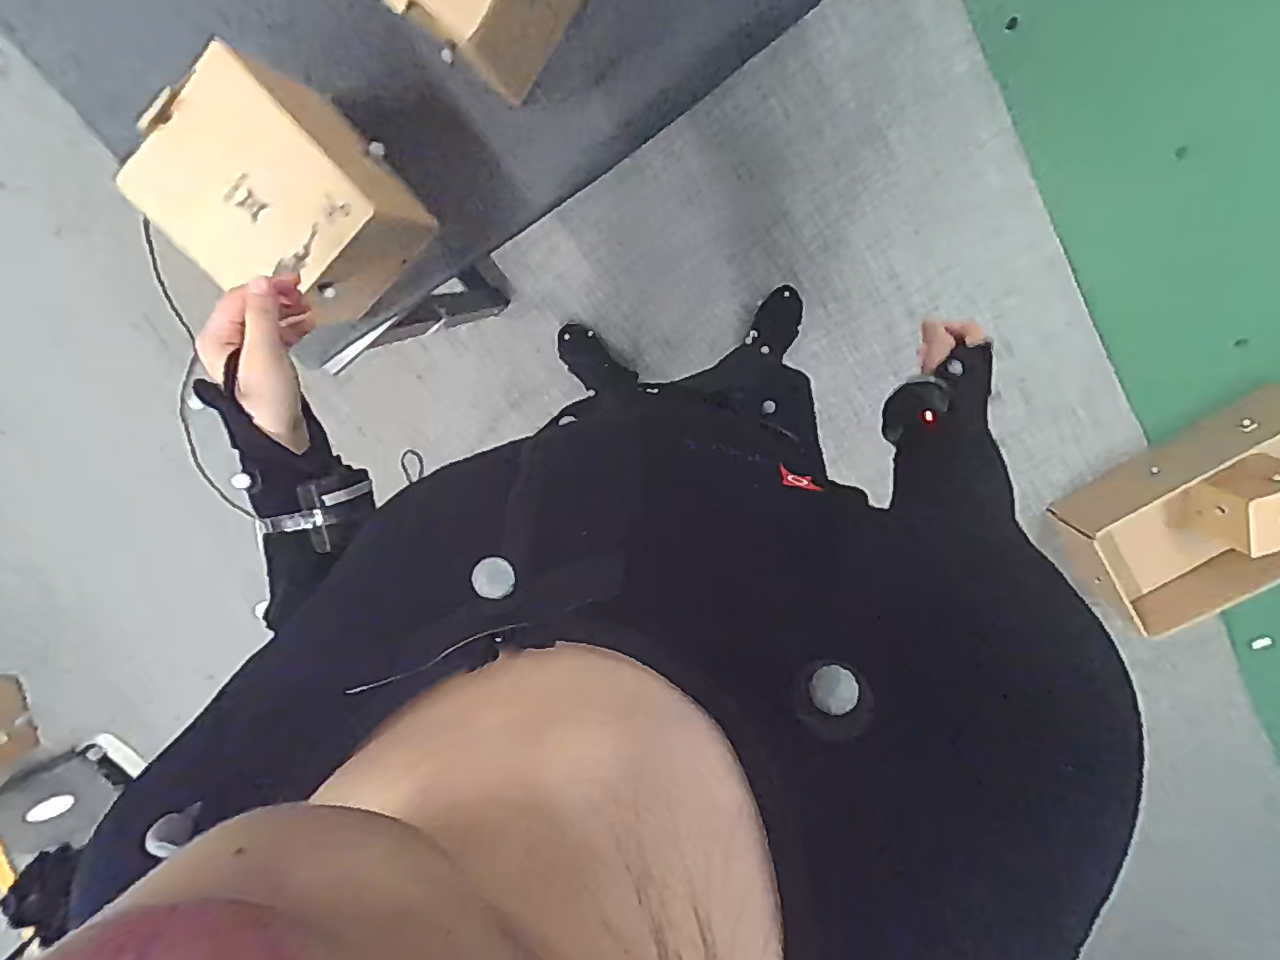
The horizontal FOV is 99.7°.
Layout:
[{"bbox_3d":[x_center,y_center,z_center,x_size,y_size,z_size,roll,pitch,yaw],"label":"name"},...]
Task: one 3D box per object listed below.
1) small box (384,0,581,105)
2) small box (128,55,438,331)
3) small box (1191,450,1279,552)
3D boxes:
[{"bbox_3d":[-0.155,-0.492,0.492,0.168,0.176,0.179,36,107,-11],"label":"small box"},{"bbox_3d":[-0.356,-0.282,0.577,0.168,0.176,0.179,-39,104,14],"label":"small box"},{"bbox_3d":[1.533,0.047,1.347,0.179,0.176,0.168,-22,109,11],"label":"small box"}]
